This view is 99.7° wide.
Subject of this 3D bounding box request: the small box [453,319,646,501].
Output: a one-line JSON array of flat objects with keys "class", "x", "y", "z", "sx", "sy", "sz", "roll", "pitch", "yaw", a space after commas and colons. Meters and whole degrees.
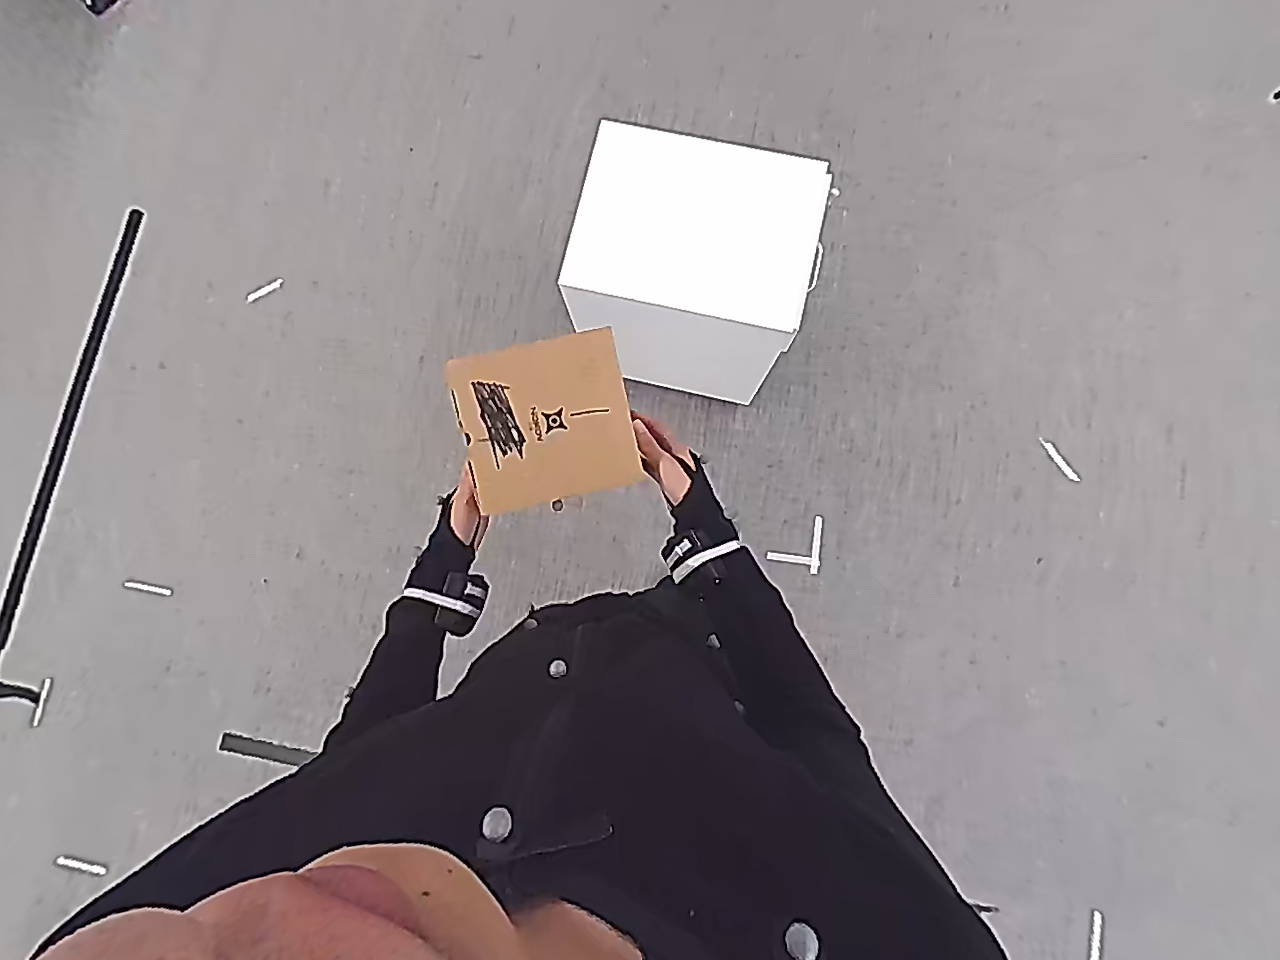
[{"class": "small box", "x": -0.097, "y": -0.074, "z": 0.640, "sx": 0.179, "sy": 0.176, "sz": 0.168, "roll": -12, "pitch": 93, "yaw": -3}]
